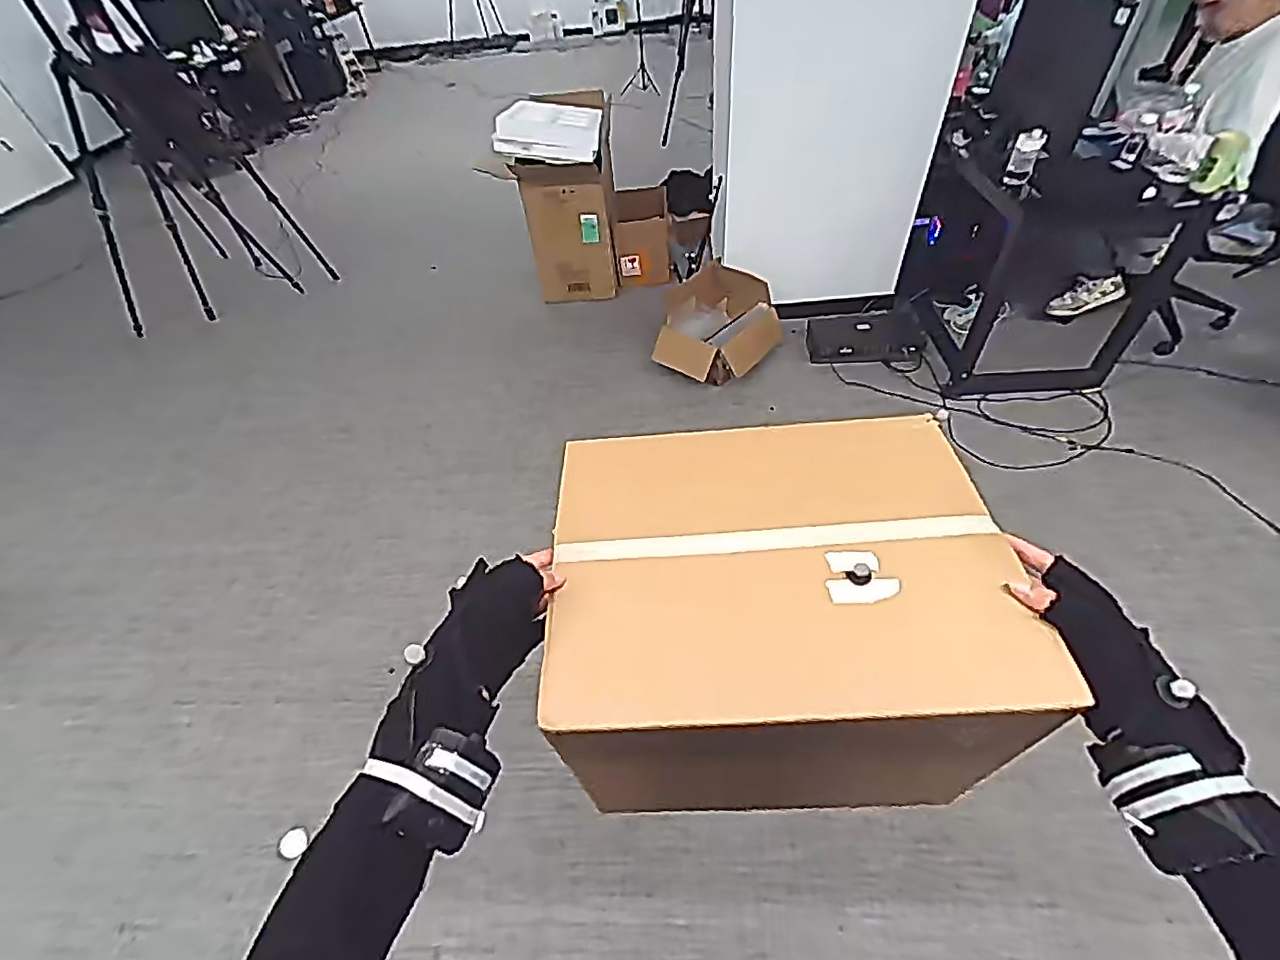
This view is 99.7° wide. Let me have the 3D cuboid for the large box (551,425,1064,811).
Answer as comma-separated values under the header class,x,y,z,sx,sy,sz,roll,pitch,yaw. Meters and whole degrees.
class,x,y,z,sx,sy,sz,roll,pitch,yaw
large box,0.133,0.165,0.624,0.408,0.320,0.320,-4,48,3
